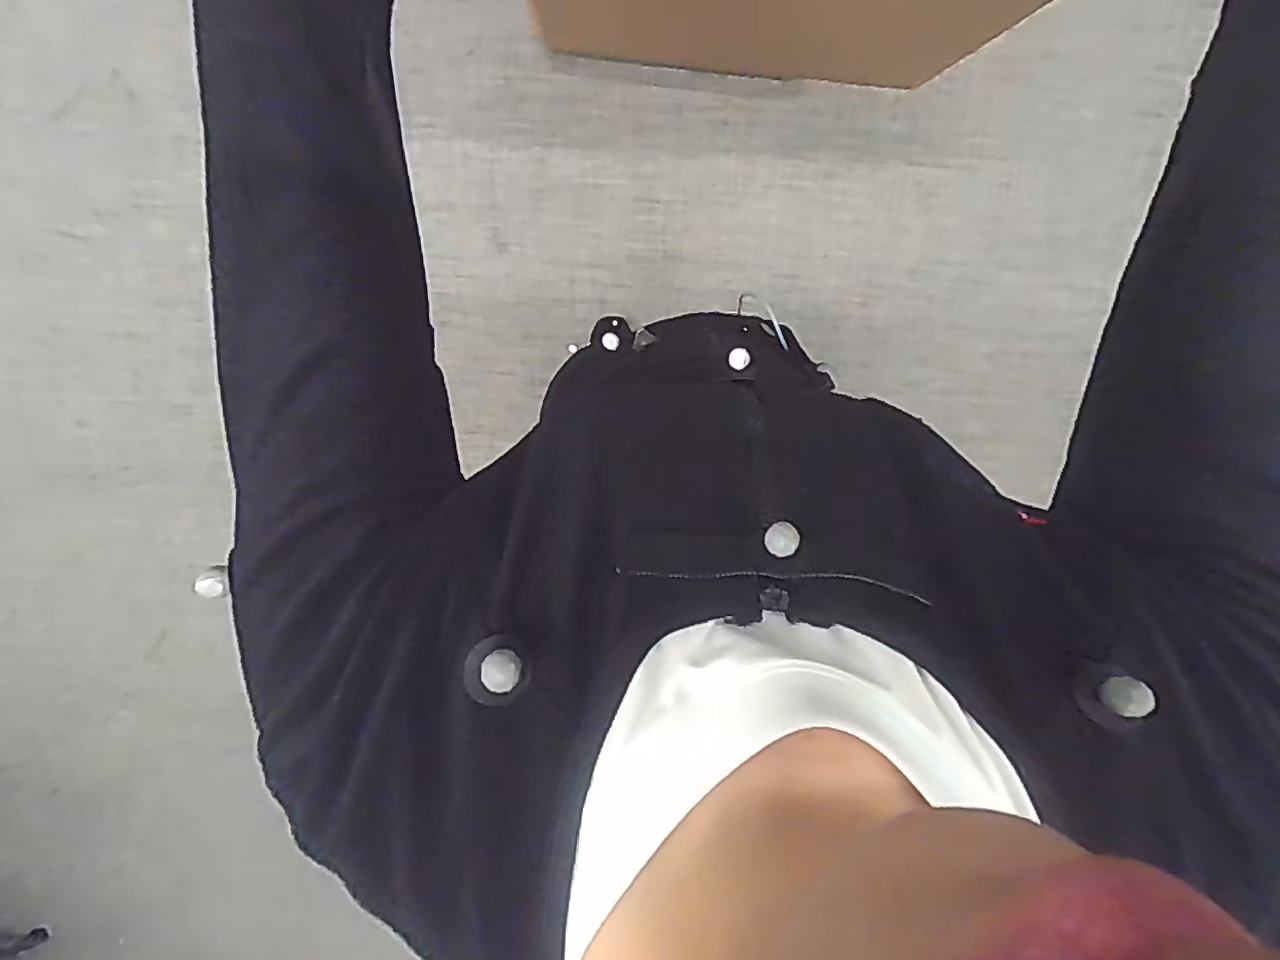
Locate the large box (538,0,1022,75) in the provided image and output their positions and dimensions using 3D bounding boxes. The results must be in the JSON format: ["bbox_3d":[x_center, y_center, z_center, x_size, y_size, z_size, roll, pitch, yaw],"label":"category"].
[{"bbox_3d":[0.117,-0.533,0.382,0.408,0.320,0.320,2,111,-5],"label":"large box"}]
